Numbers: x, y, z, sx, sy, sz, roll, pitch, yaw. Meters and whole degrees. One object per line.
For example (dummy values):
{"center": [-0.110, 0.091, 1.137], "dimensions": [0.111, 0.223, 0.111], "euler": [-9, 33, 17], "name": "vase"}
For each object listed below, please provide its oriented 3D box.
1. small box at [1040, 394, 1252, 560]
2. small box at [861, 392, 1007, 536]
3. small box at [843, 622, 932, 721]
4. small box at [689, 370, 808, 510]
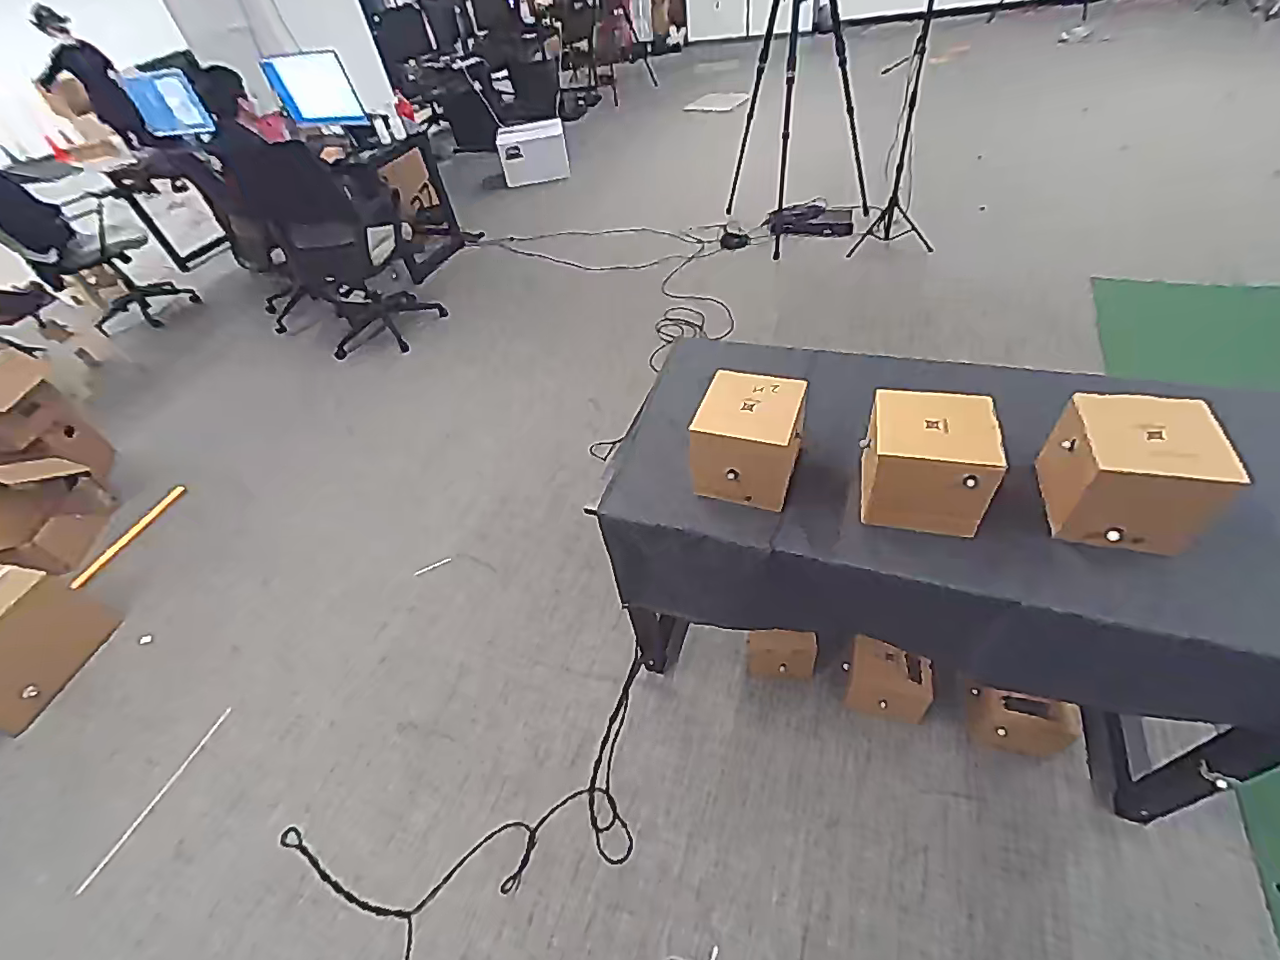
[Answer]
{"center": [0.744, -0.006, 0.825], "dimensions": [0.168, 0.176, 0.179], "euler": [8, 49, 18], "name": "small box"}
{"center": [0.470, -0.026, 0.894], "dimensions": [0.179, 0.176, 0.168], "euler": [7, 48, 16], "name": "small box"}
{"center": [0.629, 0.493, 1.381], "dimensions": [0.179, 0.176, 0.168], "euler": [9, 49, 19], "name": "small box"}
{"center": [0.198, -0.071, 0.981], "dimensions": [0.168, 0.176, 0.179], "euler": [13, 50, 20], "name": "small box"}
